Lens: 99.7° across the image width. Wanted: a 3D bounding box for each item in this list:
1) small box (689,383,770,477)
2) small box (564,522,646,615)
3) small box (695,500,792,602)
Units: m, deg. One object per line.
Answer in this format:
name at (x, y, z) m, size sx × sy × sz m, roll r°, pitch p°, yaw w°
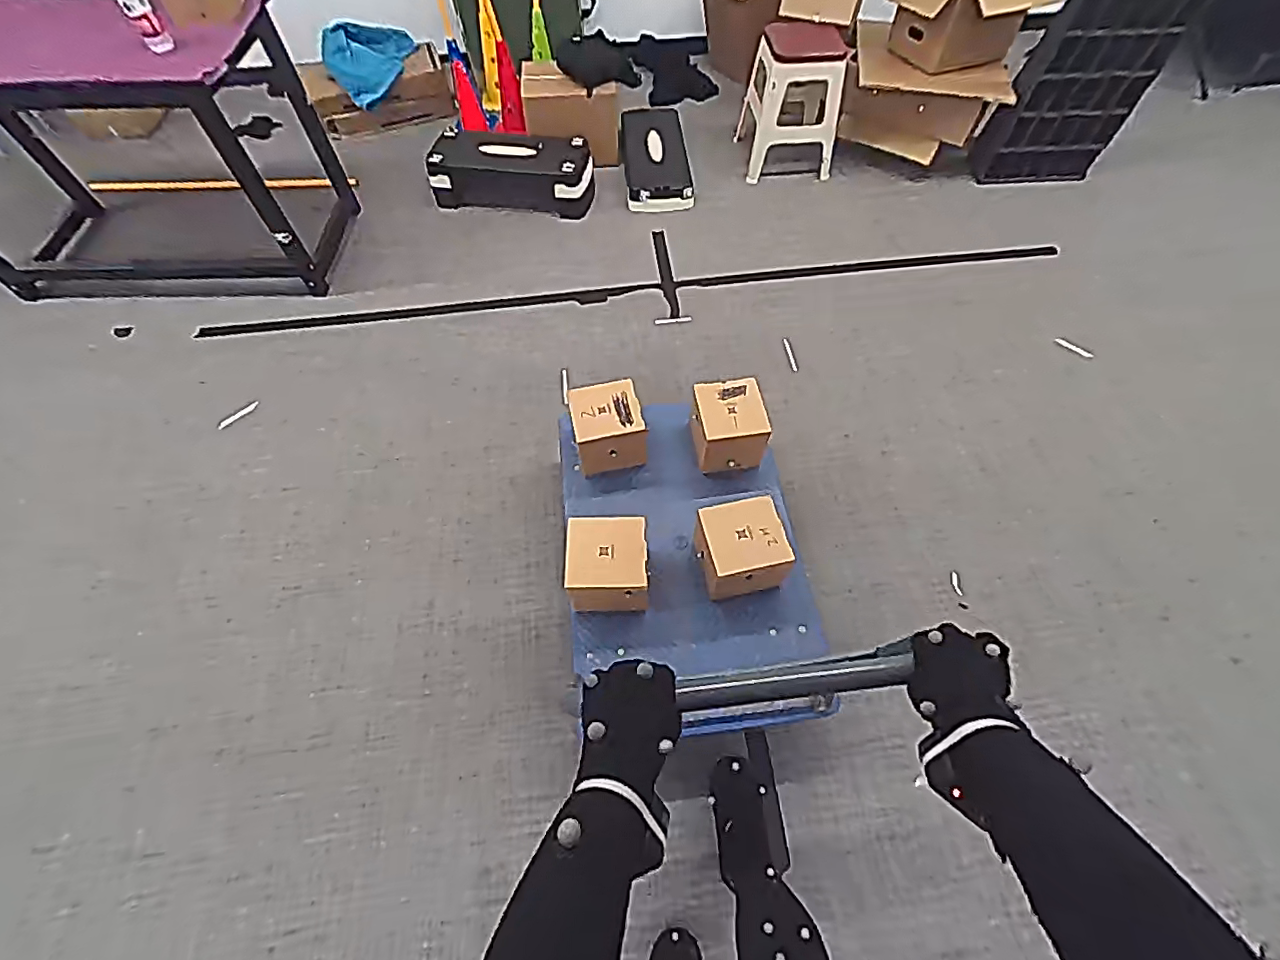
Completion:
small box at (0.228, -0.129, 1.429) m, size 0.168 × 0.176 × 0.179 m, roll -8°, pitch 61°, yaw -4°
small box at (-0.074, 0.206, 1.241) m, size 0.179 × 0.176 × 0.168 m, roll -1°, pitch 60°, yaw -1°
small box at (0.230, 0.171, 1.258) m, size 0.179 × 0.176 × 0.168 m, roll -11°, pitch 61°, yaw -6°
